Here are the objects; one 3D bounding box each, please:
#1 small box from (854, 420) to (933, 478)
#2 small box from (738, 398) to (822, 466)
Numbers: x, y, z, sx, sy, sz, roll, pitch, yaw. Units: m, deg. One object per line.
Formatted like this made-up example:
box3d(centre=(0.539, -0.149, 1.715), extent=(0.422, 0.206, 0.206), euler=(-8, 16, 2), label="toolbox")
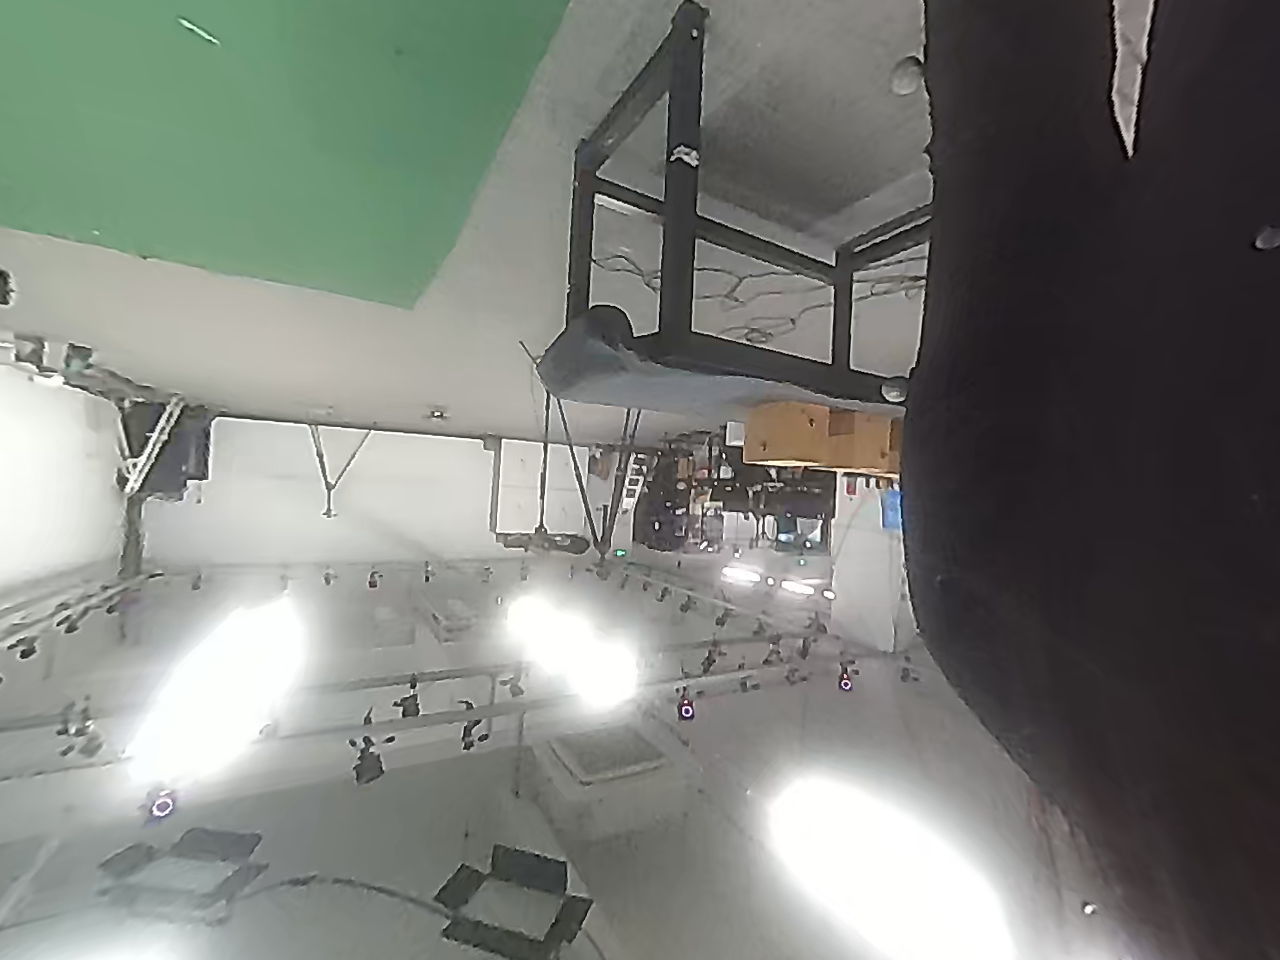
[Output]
box3d(centre=(0.839, -0.101, 1.784), extent=(0.168, 0.176, 0.179), euler=(5, 179, -29), label="small box")
box3d(centre=(0.407, -0.134, 1.561), extent=(0.168, 0.176, 0.179), euler=(4, 178, -29), label="small box")
